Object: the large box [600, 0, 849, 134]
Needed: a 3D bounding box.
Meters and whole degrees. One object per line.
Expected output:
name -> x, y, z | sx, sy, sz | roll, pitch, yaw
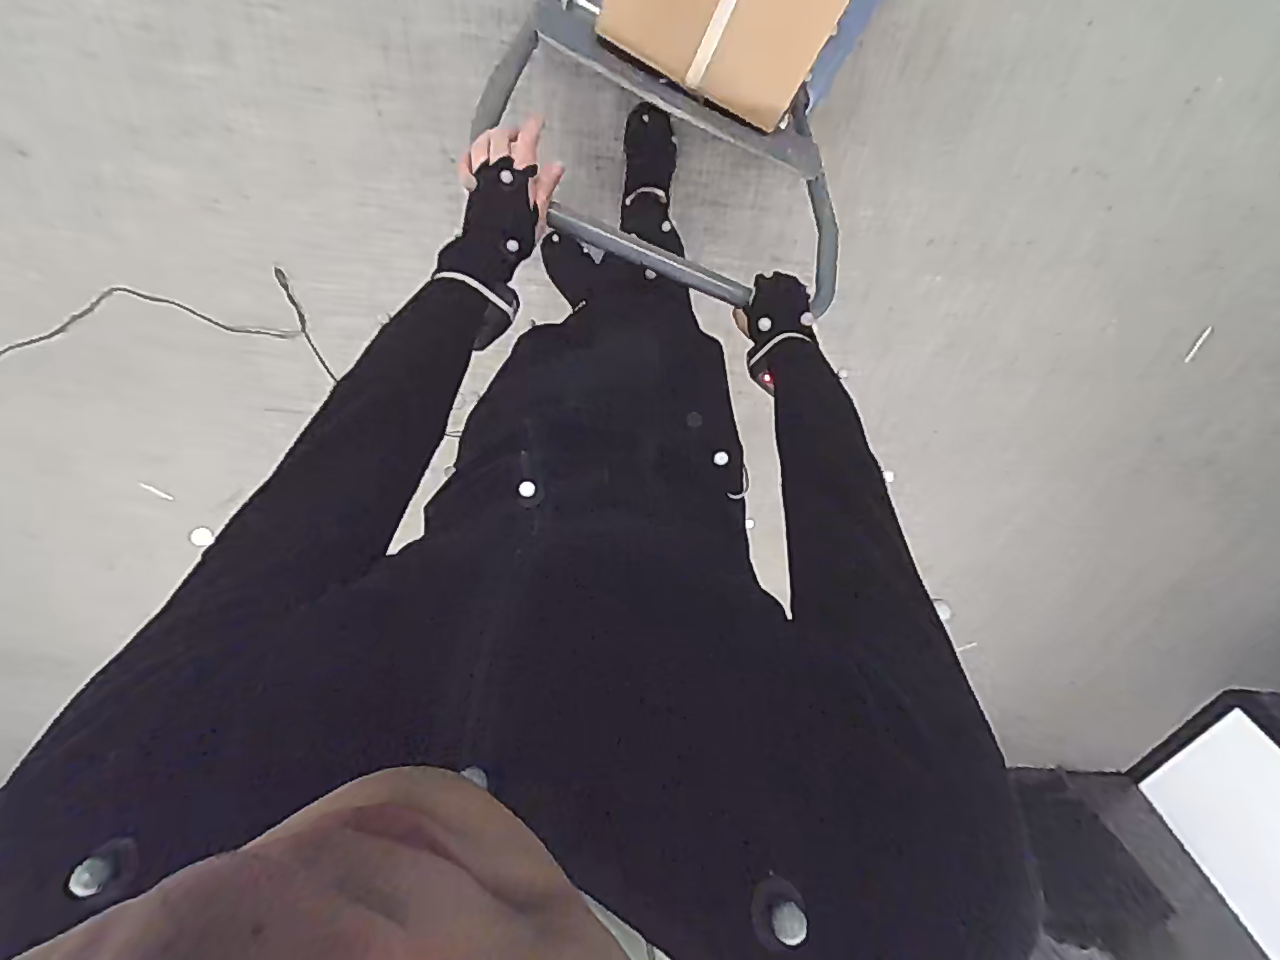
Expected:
large box -> 0.165, -0.830, 0.796 | 0.320, 0.320, 0.408 | 18, 137, -17
